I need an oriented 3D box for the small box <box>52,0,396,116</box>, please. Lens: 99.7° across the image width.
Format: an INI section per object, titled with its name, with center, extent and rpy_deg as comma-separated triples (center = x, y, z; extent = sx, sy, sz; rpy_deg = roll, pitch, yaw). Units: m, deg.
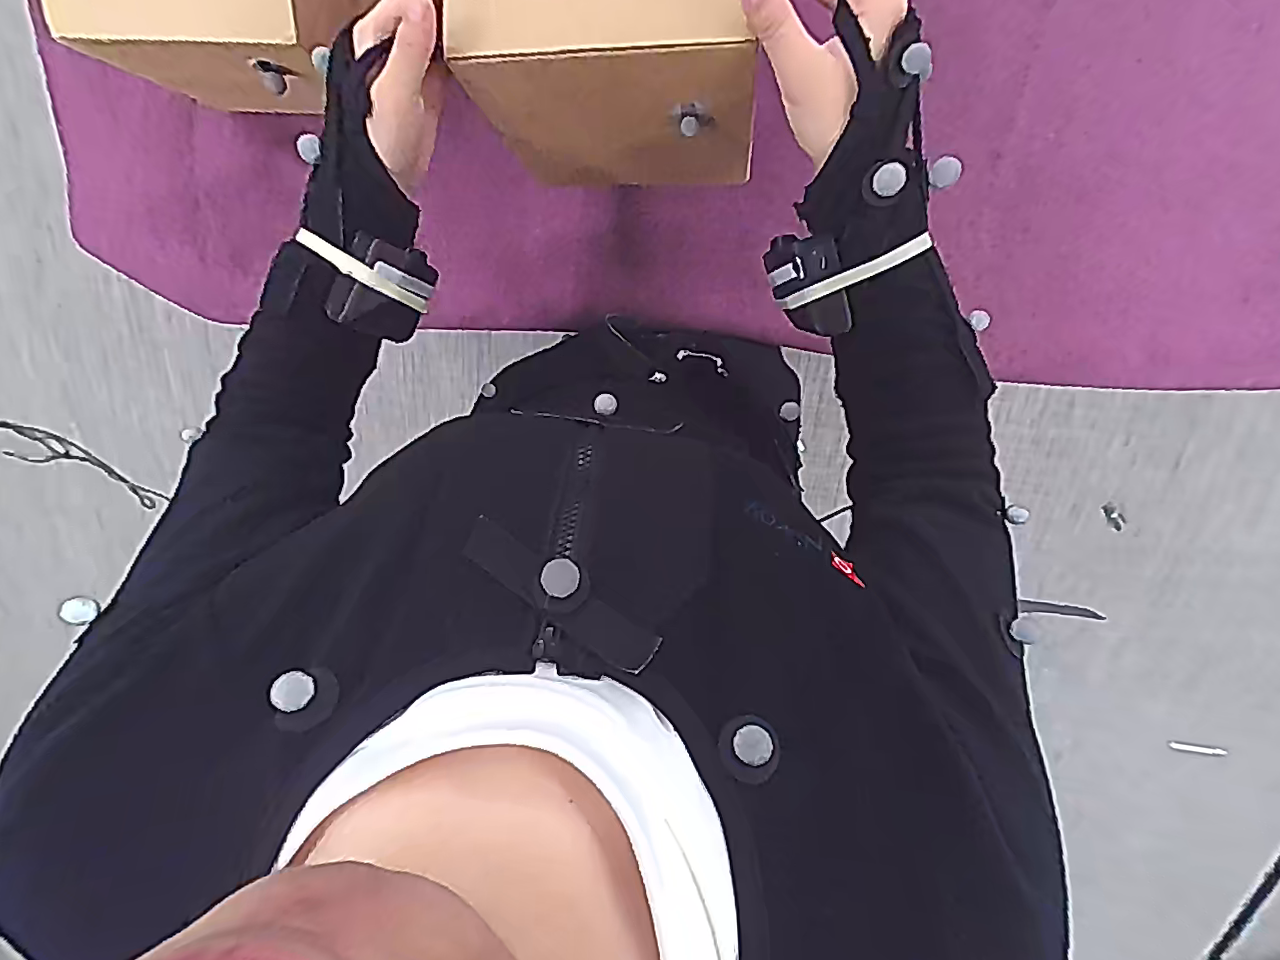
[small box]
center = -0.310, -0.406, 0.423
extent = 0.179, 0.176, 0.168
rpy_deg = 3, 109, 1
